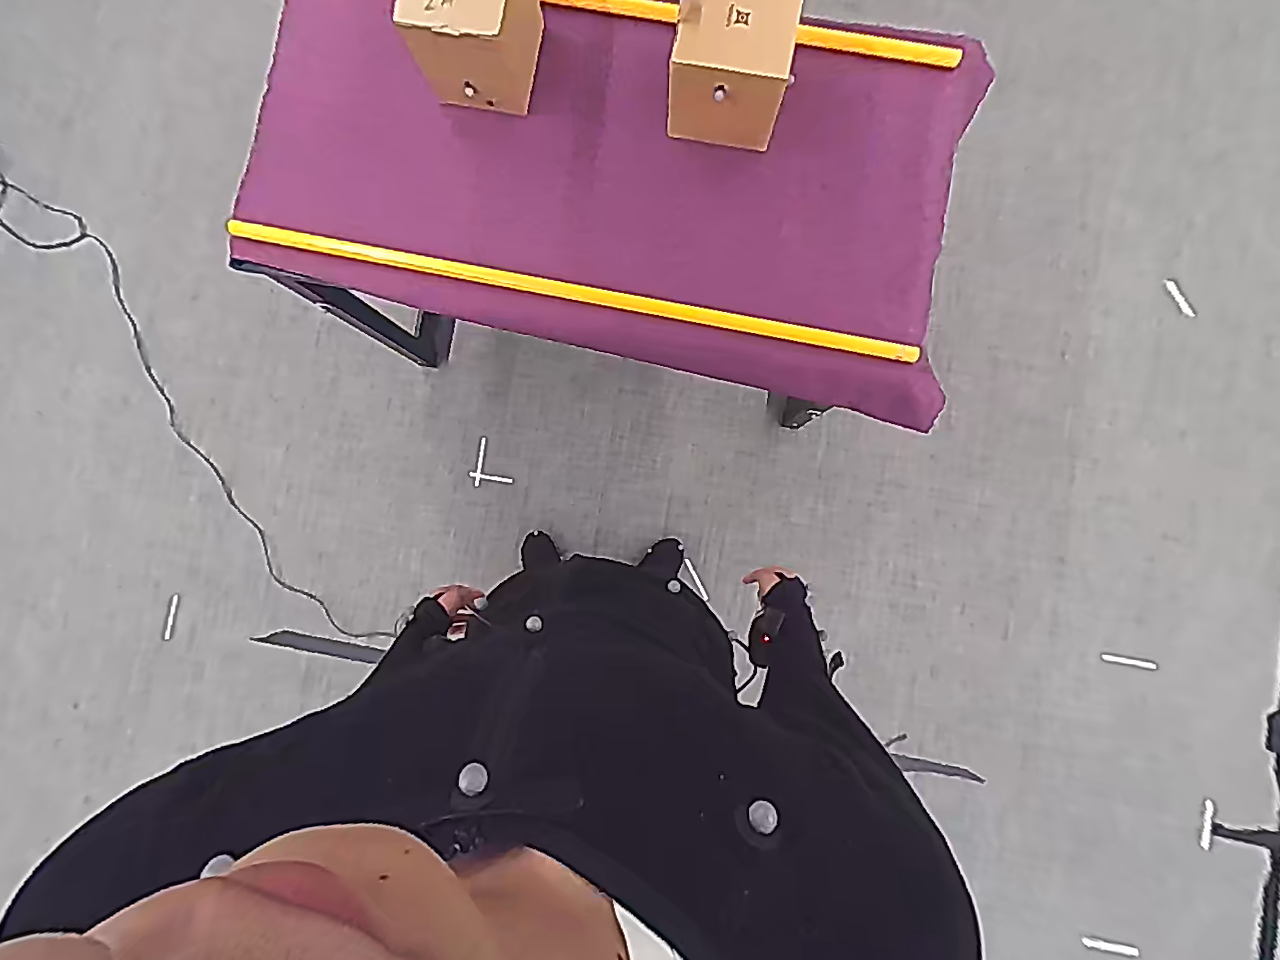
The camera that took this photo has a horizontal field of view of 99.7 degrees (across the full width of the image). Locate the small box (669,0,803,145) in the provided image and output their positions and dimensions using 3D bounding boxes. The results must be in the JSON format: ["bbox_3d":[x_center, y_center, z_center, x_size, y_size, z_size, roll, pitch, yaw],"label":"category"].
[{"bbox_3d":[0.146,-0.673,0.865,0.179,0.176,0.168,11,89,3],"label":"small box"}]

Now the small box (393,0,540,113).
[{"bbox_3d":[-0.269,-0.752,0.882,0.168,0.176,0.179,11,89,3],"label":"small box"}]
